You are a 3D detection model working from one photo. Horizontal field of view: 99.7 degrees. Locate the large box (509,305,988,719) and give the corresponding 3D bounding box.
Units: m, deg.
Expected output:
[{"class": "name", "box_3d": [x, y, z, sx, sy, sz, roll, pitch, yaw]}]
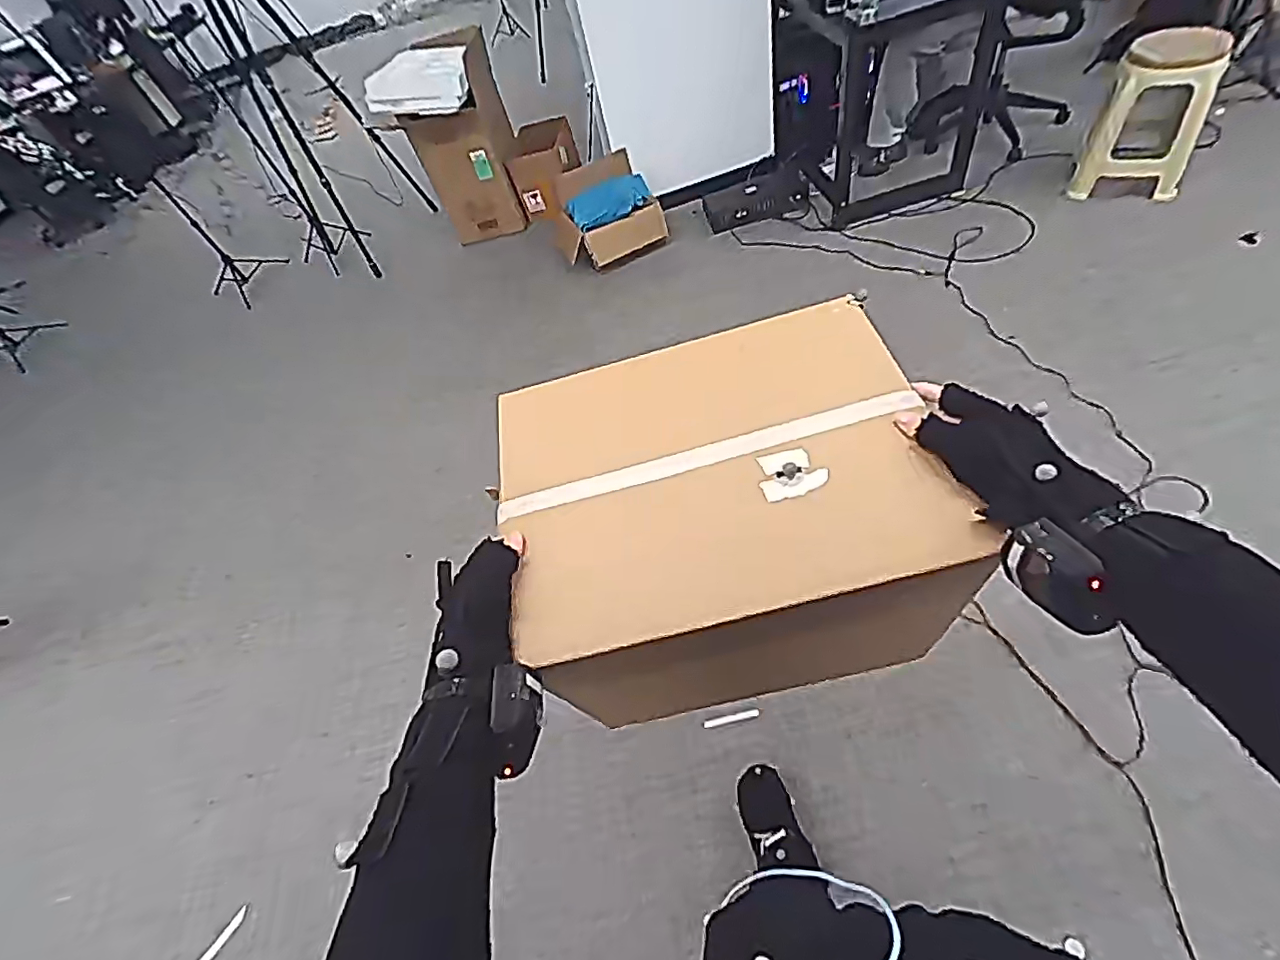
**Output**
[{"class": "large box", "box_3d": [0.094, 0.058, 0.652, 0.408, 0.320, 0.320, -15, 56, 3]}]
